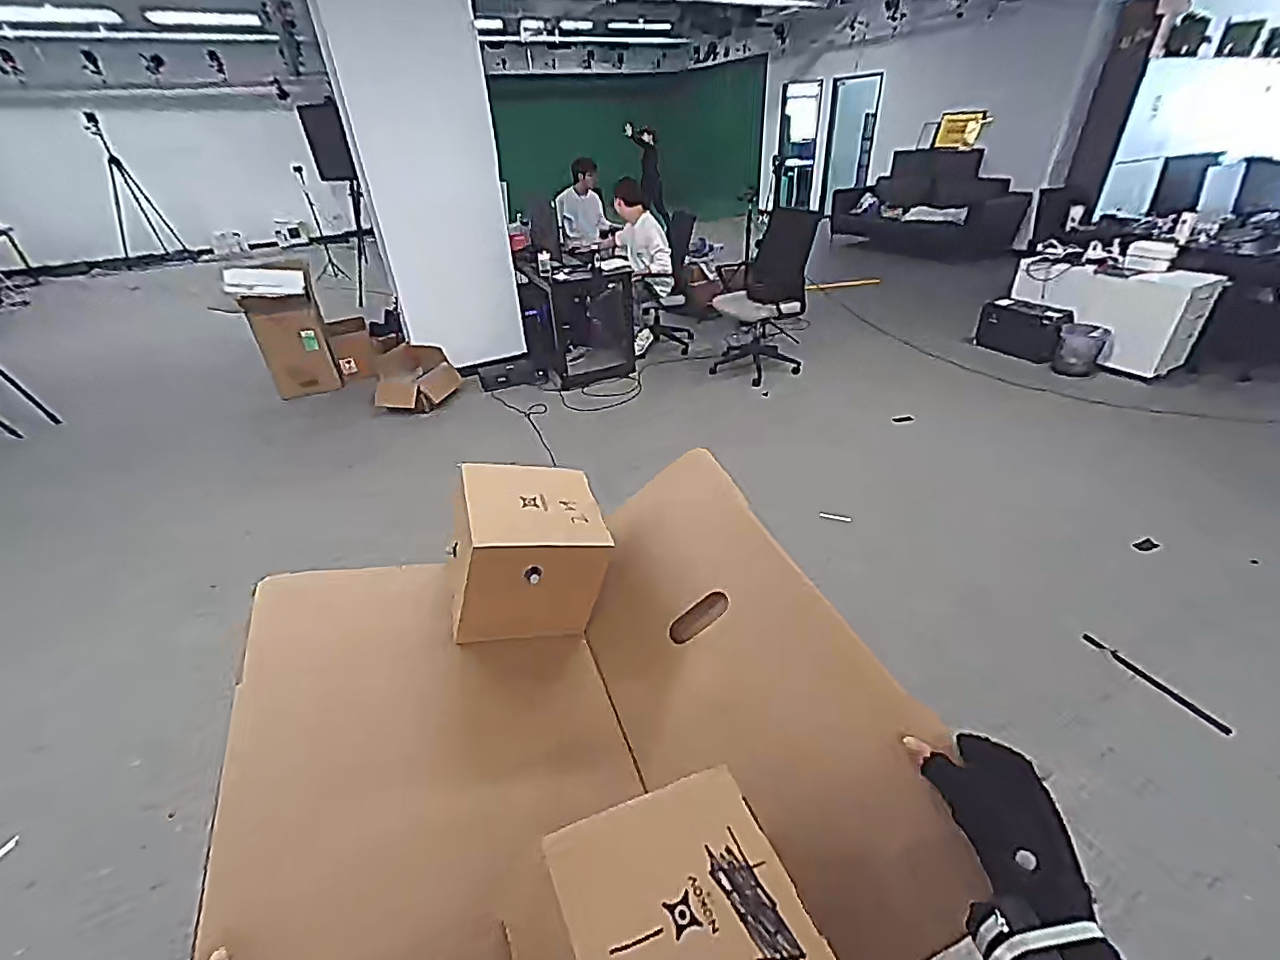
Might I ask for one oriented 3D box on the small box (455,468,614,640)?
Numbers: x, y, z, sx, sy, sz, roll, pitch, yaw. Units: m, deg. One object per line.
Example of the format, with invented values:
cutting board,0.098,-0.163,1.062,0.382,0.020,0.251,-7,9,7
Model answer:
small box,-0.156,0.102,0.742,0.179,0.176,0.168,4,35,-25
